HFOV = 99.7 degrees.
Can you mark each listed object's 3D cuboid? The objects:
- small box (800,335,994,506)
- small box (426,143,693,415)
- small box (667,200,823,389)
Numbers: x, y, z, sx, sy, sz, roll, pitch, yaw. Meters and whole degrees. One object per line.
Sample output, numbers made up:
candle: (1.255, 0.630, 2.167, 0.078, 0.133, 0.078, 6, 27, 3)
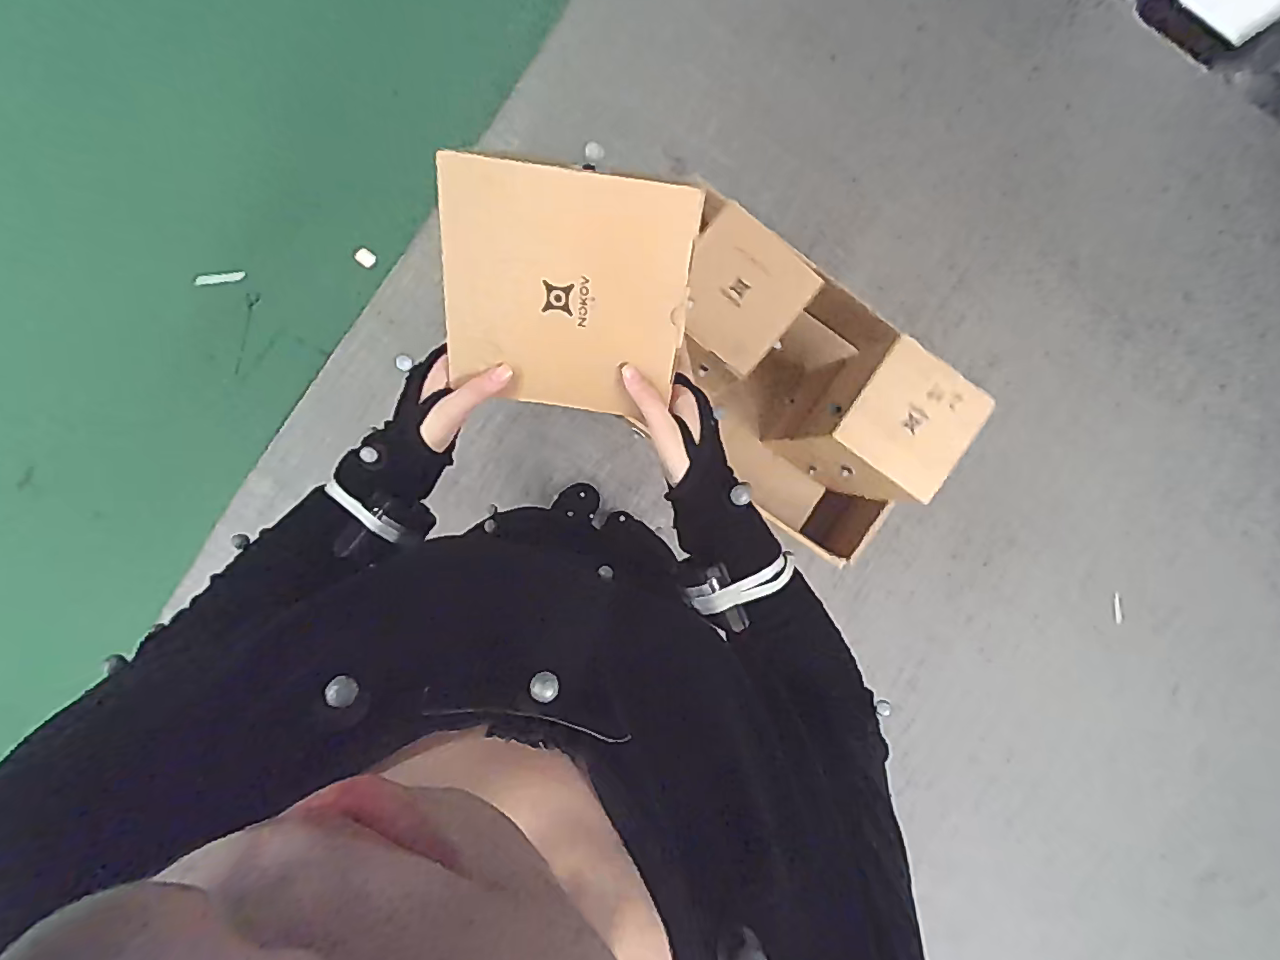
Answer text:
small box: (0.365, -0.082, 0.809, 0.168, 0.176, 0.179, 36, 89, -4)
small box: (-0.057, -0.172, 0.454, 0.179, 0.176, 0.168, 7, 121, -1)
small box: (0.124, -0.252, 0.790, 0.168, 0.176, 0.179, 41, 88, -5)
